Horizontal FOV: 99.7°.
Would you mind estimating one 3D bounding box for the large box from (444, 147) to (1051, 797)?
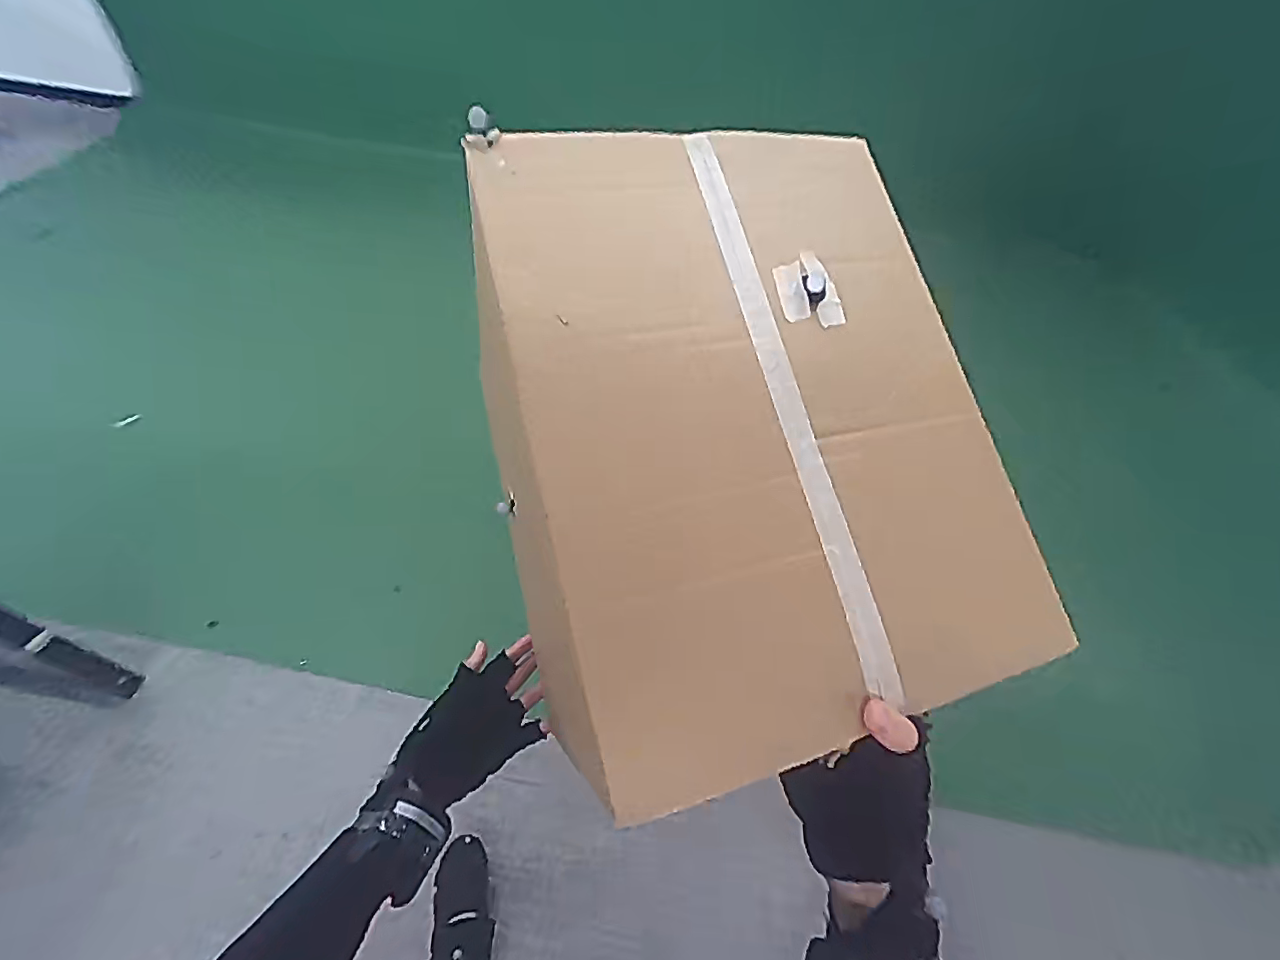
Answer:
[{"bbox_3d":[0.035,-0.010,0.487,0.320,0.320,0.408,-11,74,-18],"label":"large box"}]
